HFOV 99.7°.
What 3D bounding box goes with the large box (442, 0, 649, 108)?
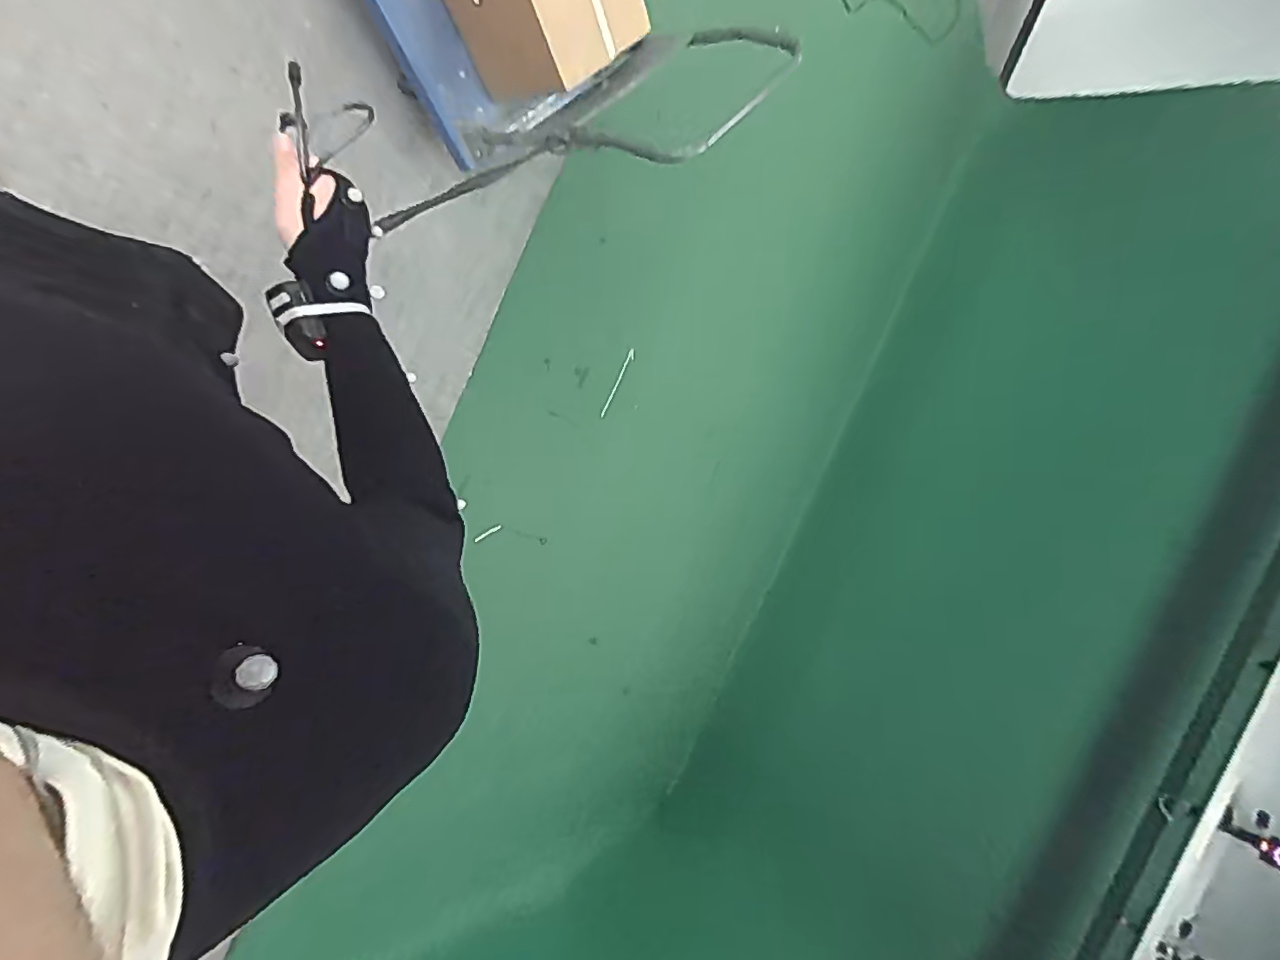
[{"bbox_3d":[-0.245,-1.132,1.205,0.320,0.320,0.408,-50,139,-18],"label":"large box"}]
